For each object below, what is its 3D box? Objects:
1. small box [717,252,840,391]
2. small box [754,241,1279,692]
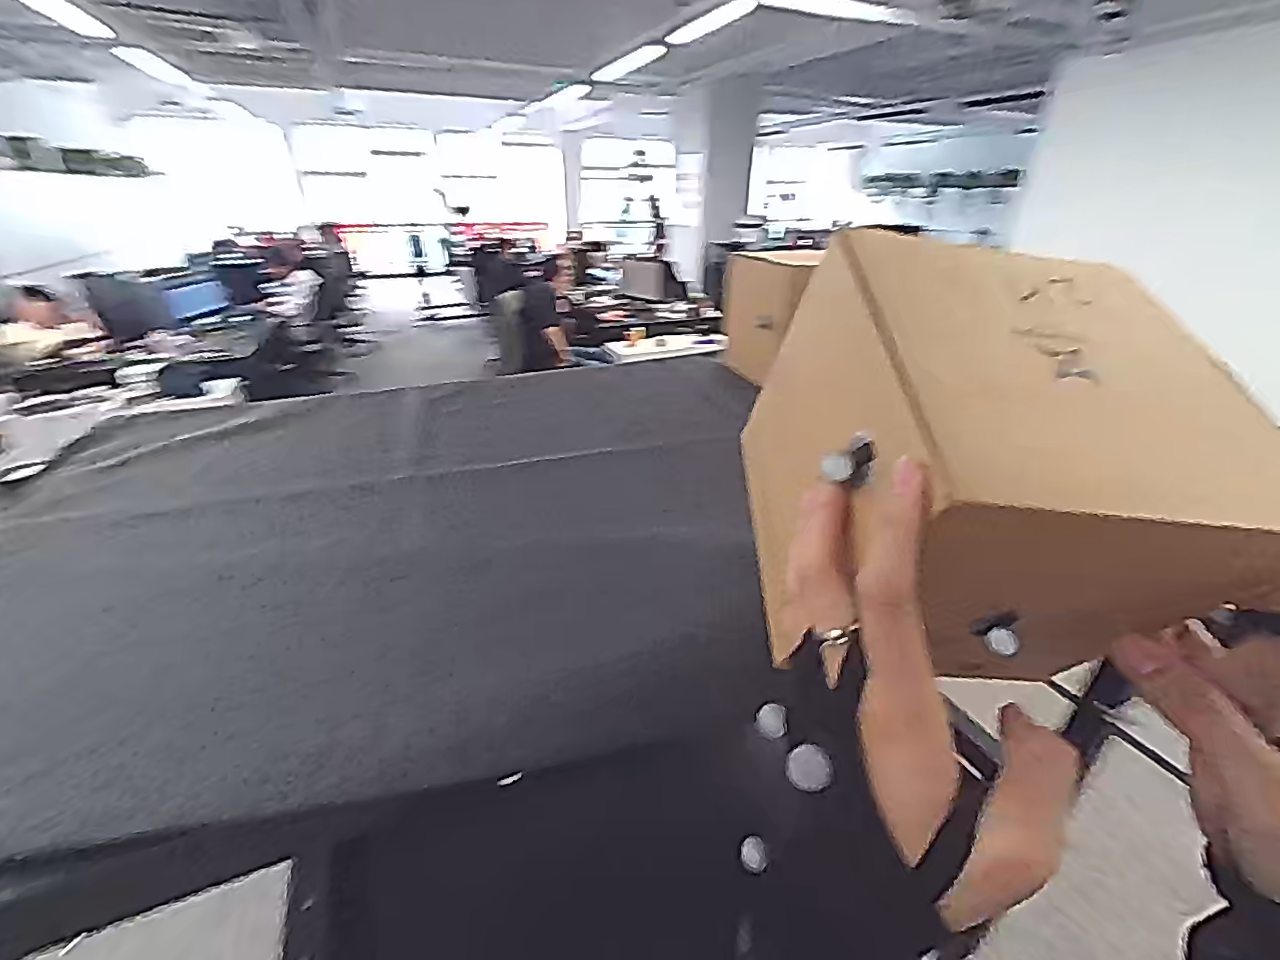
[{"bbox_3d":[0.224,-0.230,0.784,0.168,0.176,0.179,-8,28,-17],"label":"small box"},{"bbox_3d":[0.171,0.003,0.294,0.168,0.176,0.179,6,52,-6],"label":"small box"}]
